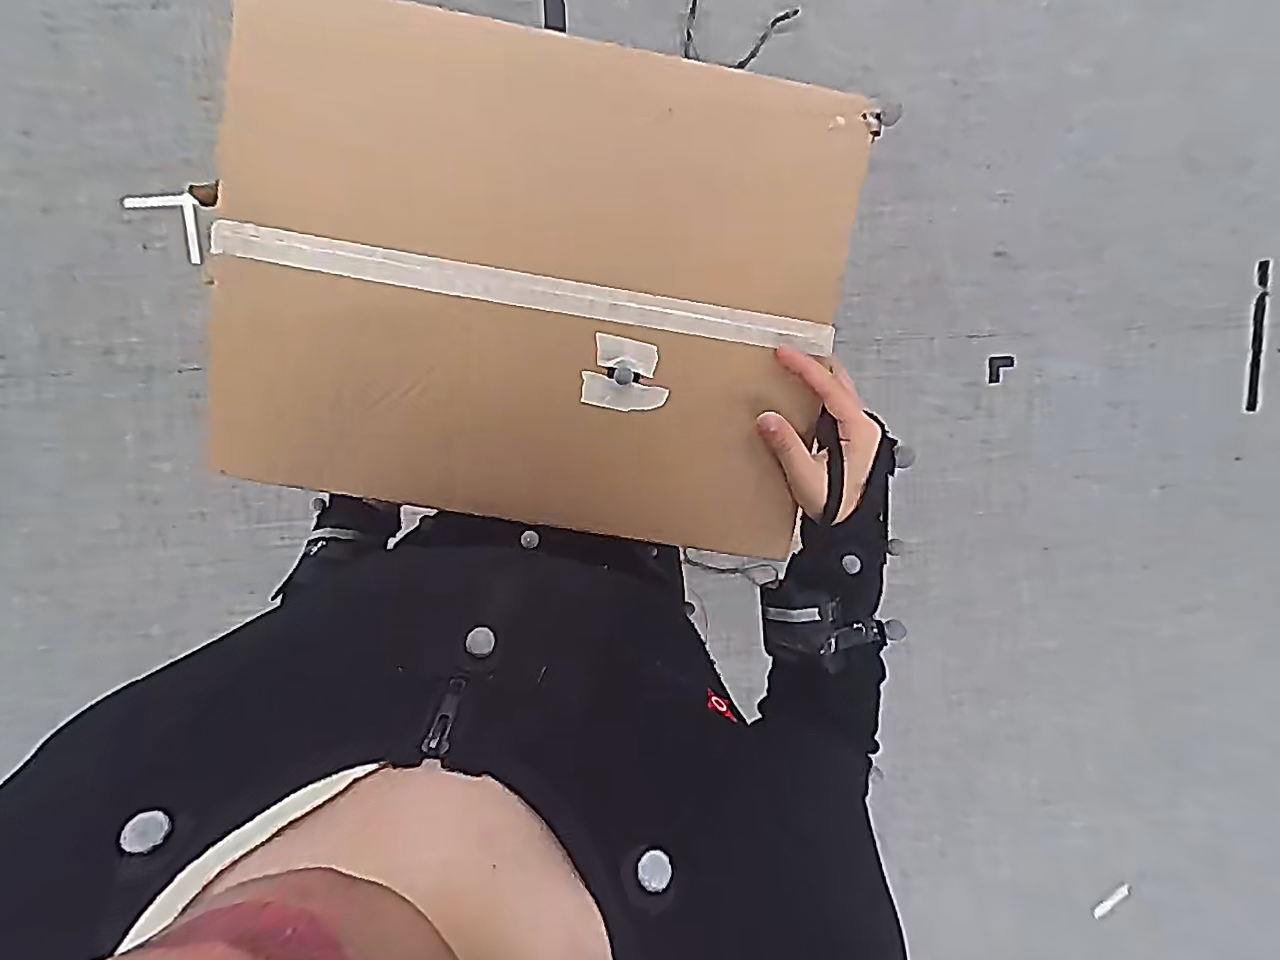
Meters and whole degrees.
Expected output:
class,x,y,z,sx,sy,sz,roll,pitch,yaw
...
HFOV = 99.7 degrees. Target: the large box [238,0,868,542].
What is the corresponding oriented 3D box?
class,x,y,z,sx,sy,sz,roll,pitch,yaw
large box,-0.071,-0.148,0.515,0.408,0.320,0.320,8,99,-4
